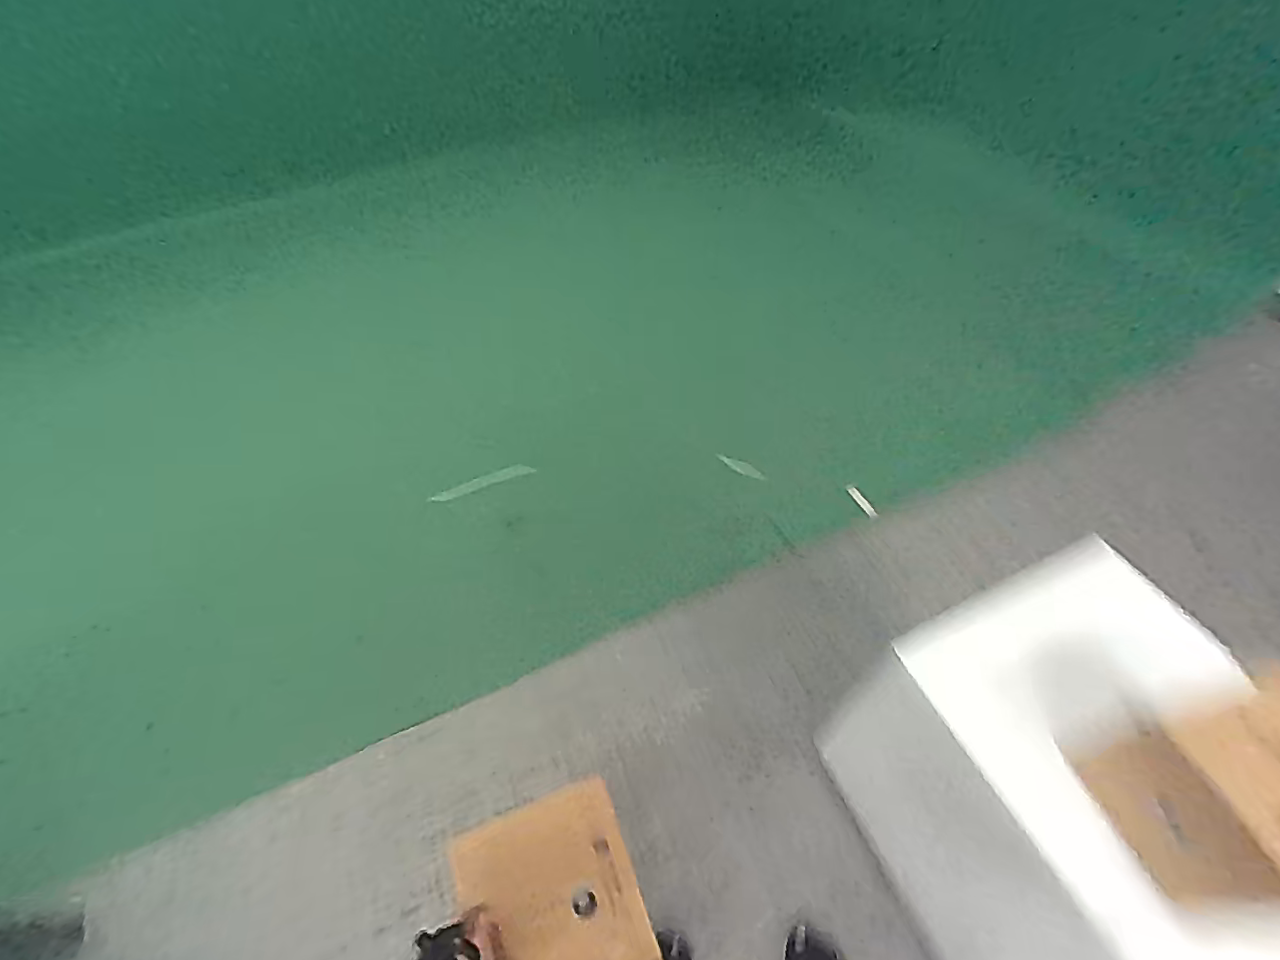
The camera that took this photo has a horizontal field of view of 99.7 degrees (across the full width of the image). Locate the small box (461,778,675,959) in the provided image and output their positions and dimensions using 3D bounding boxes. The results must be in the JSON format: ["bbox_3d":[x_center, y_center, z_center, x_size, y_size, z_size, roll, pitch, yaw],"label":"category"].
[{"bbox_3d":[-0.071,0.444,0.573,0.176,0.179,0.168,-18,56,-14],"label":"small box"}]
